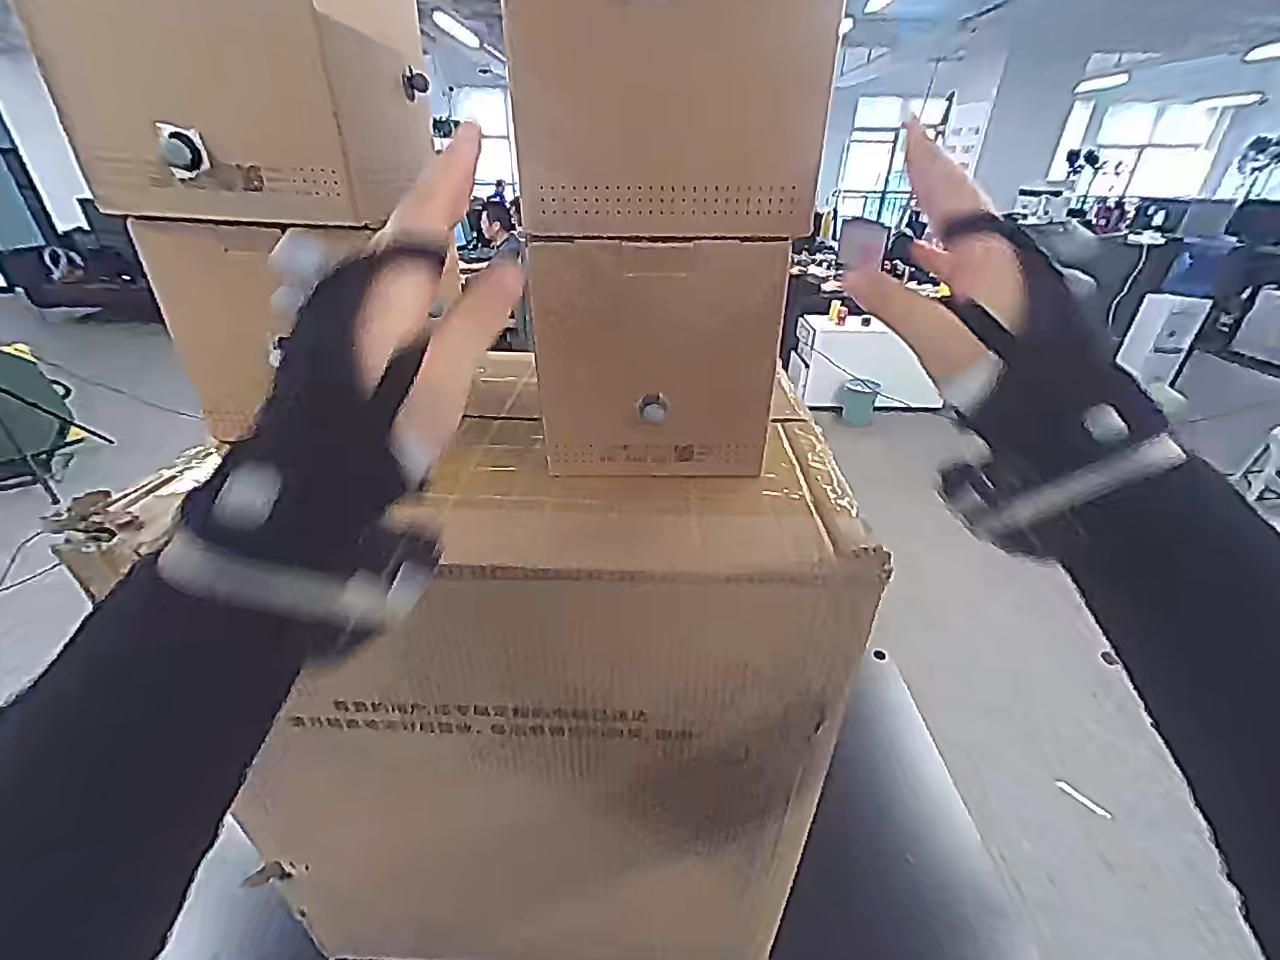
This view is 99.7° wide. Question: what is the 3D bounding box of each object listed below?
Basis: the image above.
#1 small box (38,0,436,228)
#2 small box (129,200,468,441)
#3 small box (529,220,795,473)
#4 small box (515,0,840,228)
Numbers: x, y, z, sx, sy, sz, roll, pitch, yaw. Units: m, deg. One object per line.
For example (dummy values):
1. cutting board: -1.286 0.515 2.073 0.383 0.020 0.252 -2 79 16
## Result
1. small box: -0.254 -0.277 0.373 0.168 0.176 0.179 1 31 -1
2. small box: -0.257 -0.143 0.467 0.168 0.176 0.179 2 31 -1
3. small box: 0.015 -0.121 0.438 0.168 0.176 0.179 0 31 1
4. small box: 0.020 -0.260 0.349 0.179 0.176 0.168 1 31 0
